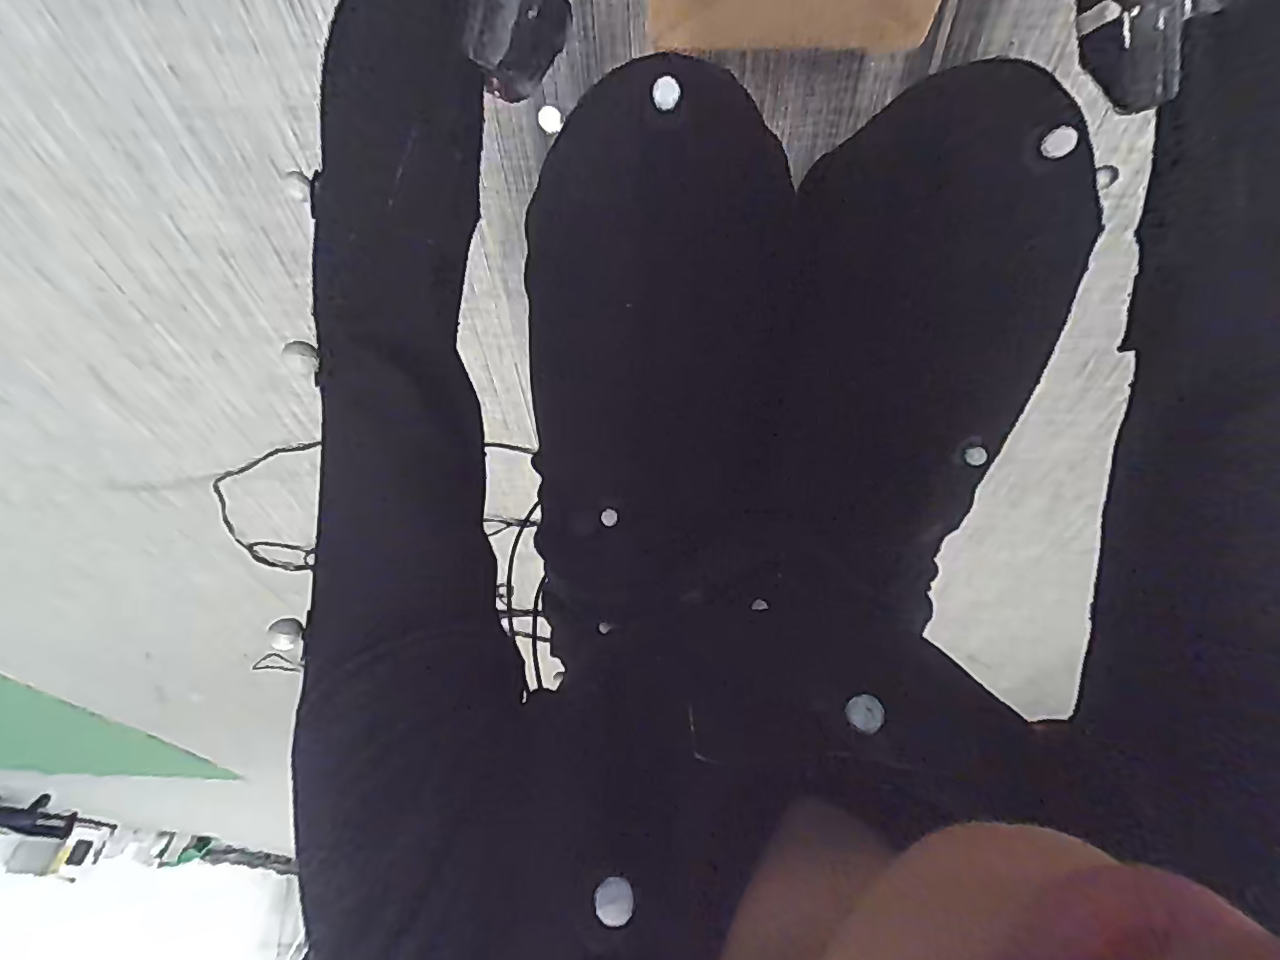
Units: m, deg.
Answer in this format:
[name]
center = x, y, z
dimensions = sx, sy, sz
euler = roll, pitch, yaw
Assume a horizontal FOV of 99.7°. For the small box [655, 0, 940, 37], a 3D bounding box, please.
[small box]
center = 0.099, -0.385, 0.298
dimensions = 0.179, 0.176, 0.168
euler = 1, 158, 1
